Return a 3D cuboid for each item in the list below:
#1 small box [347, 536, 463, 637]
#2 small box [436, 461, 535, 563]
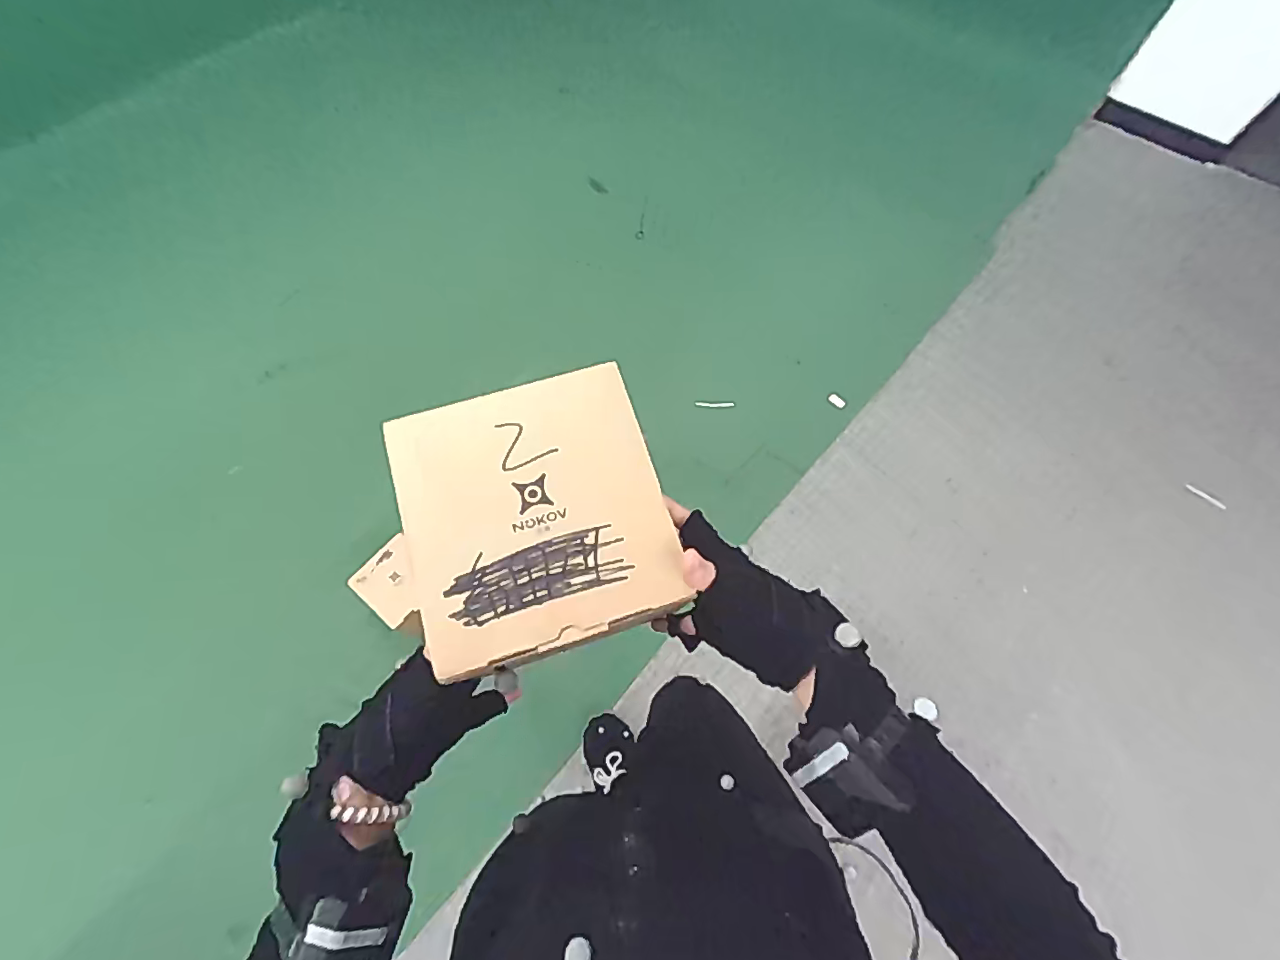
[{"bbox_3d":[-0.572,0.270,1.341,0.179,0.176,0.168,38,72,15],"label":"small box"},{"bbox_3d":[-0.393,0.088,1.419,0.168,0.176,0.179,41,73,17],"label":"small box"}]
